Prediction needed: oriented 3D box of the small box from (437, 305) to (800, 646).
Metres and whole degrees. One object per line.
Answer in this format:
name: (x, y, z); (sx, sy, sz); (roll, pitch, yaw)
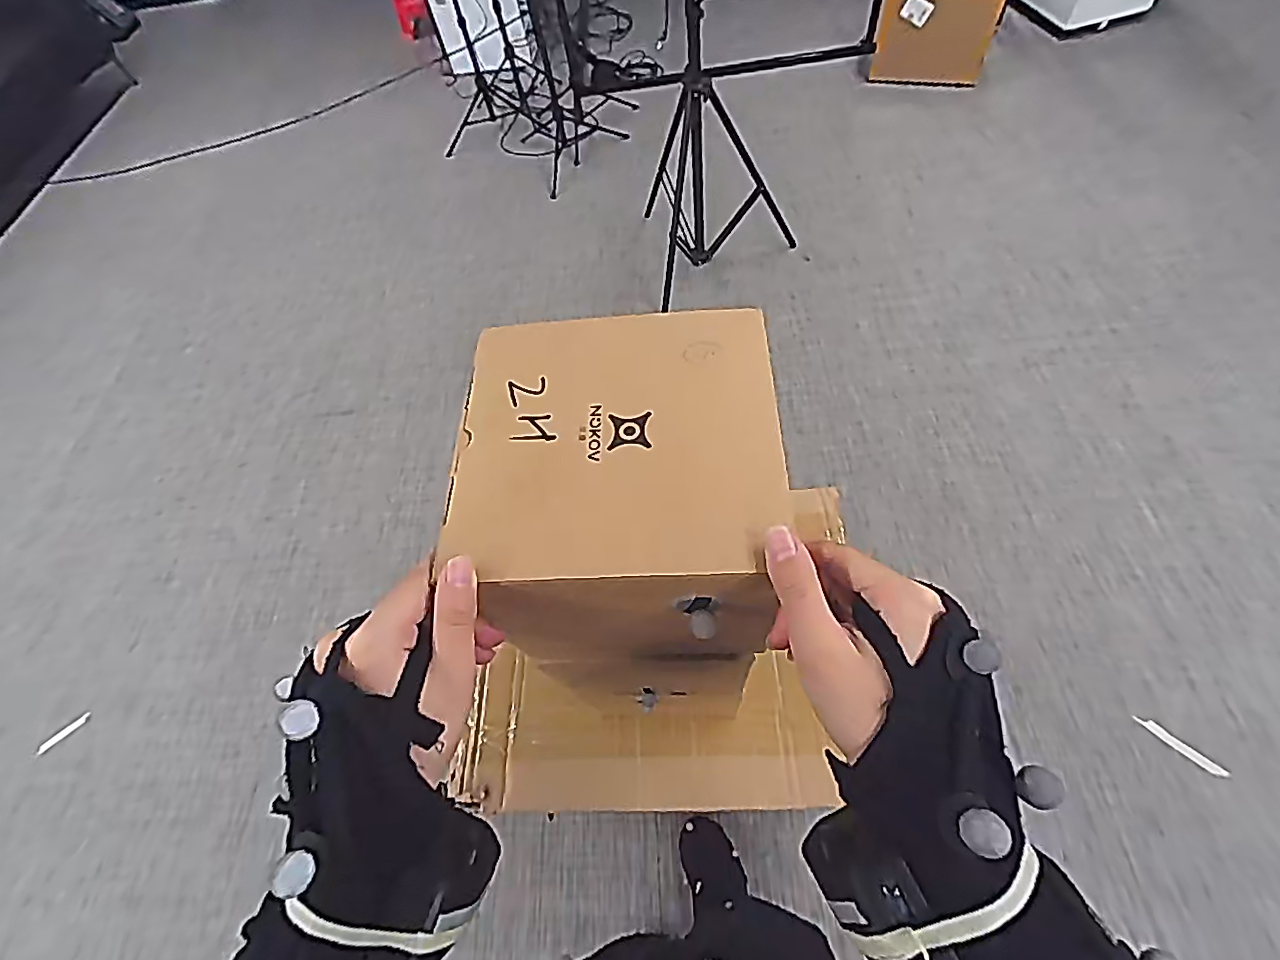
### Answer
small box: (-0.004, 0.009, 0.361); (0.179, 0.176, 0.168); (-3, 60, 6)

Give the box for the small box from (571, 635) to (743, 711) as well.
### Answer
small box: (0.027, 0.176, 0.644); (0.179, 0.176, 0.168); (-3, 60, 6)
